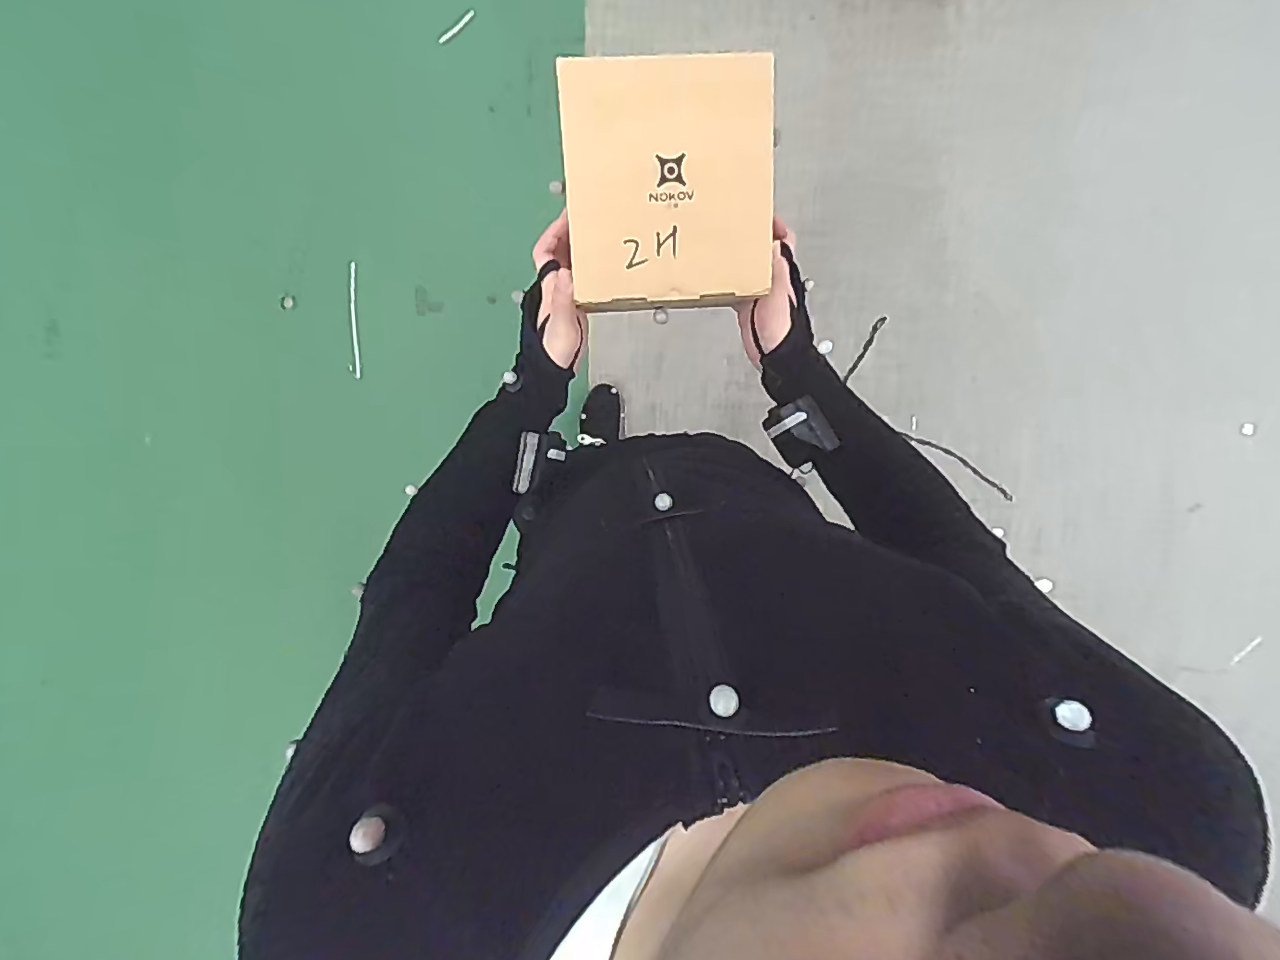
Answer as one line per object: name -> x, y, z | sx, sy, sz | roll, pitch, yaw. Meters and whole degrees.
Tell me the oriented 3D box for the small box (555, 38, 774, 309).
small box -> 0.015, -0.254, 0.489 | 0.168, 0.176, 0.179 | -2, 104, -2
